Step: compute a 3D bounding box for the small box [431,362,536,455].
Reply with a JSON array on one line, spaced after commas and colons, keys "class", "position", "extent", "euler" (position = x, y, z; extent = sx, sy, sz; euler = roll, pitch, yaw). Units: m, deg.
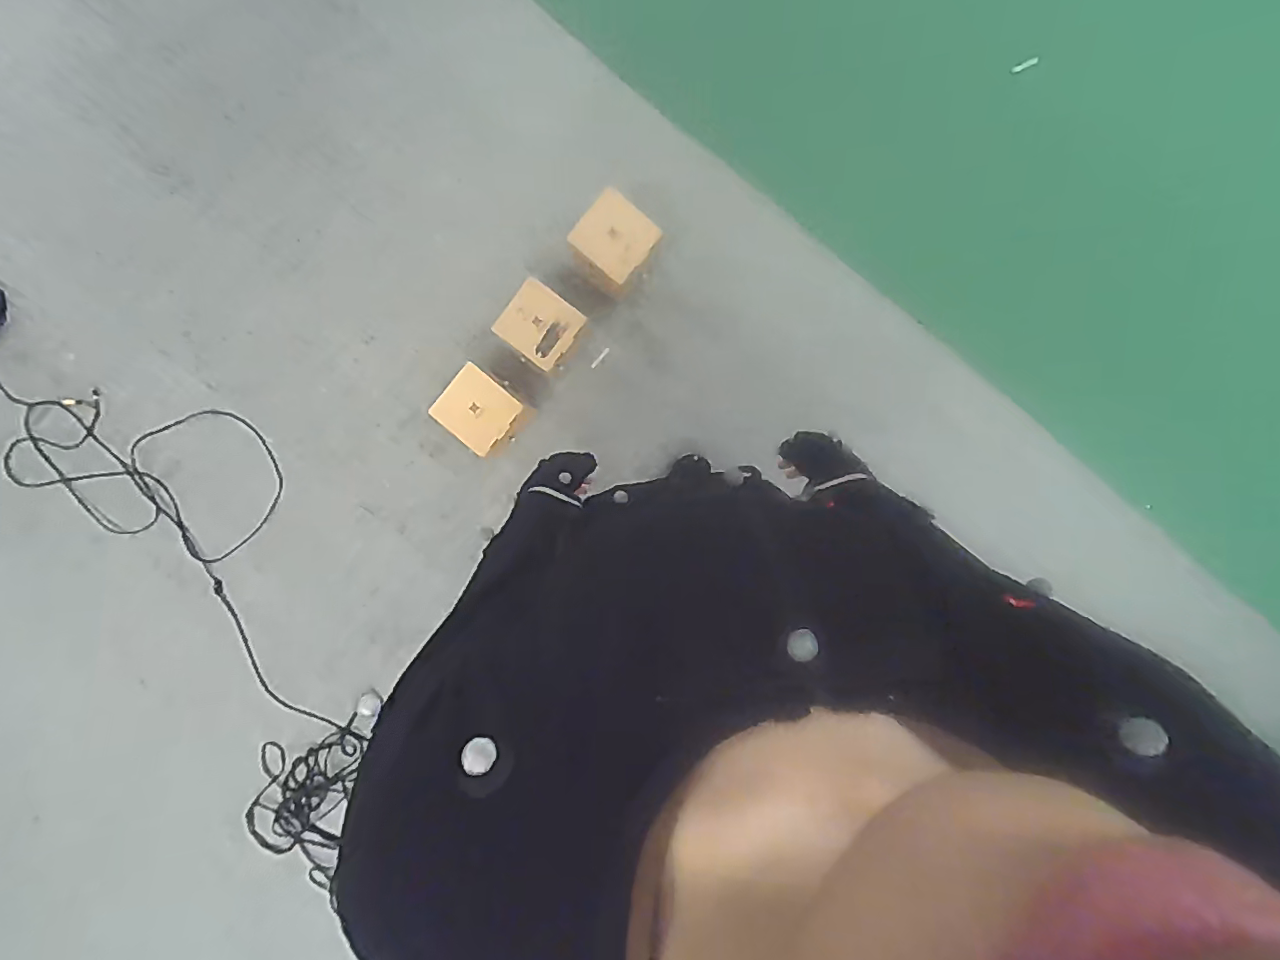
[{"class": "small box", "position": [-0.395, -0.176, 1.399], "extent": [0.179, 0.176, 0.168], "euler": [40, 92, -2]}]

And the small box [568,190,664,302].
[{"class": "small box", "position": [-0.059, -0.586, 1.381], "extent": [0.179, 0.176, 0.168], "euler": [40, 92, -2]}]
